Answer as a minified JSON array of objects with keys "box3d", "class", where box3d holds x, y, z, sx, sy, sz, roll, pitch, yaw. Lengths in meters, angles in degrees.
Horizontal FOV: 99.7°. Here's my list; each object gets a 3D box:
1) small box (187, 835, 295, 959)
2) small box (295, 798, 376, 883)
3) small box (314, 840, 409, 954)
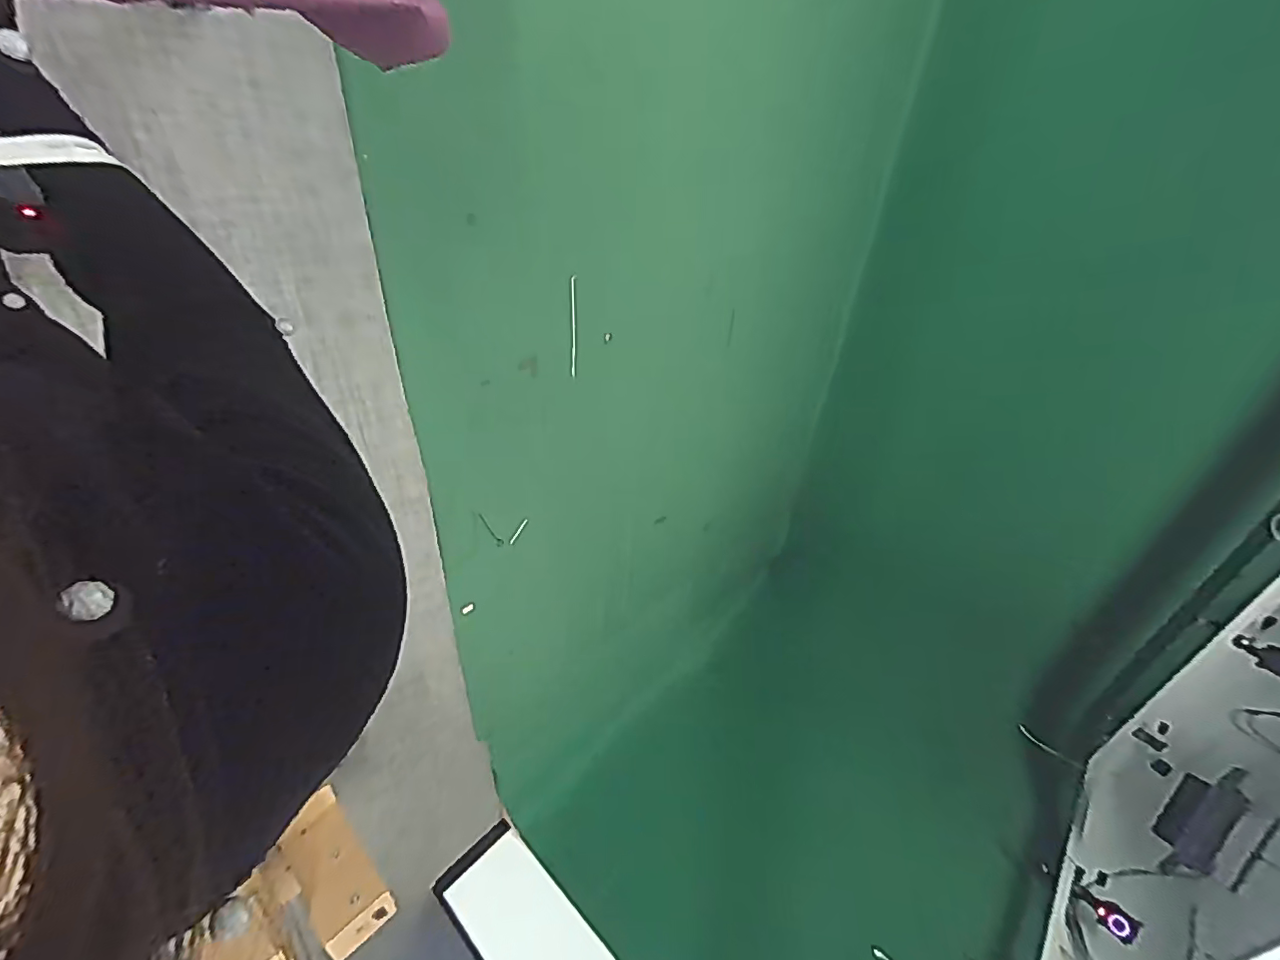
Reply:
[{"box3d":[-1.065,1.105,1.440,0.179,0.176,0.168,-30,139,-38],"class":"small box"},{"box3d":[-0.923,1.124,1.657,0.168,0.176,0.179,-29,139,-40],"class":"small box"},{"box3d":[-0.805,1.198,1.566,0.179,0.176,0.168,-31,139,-40],"class":"small box"}]
